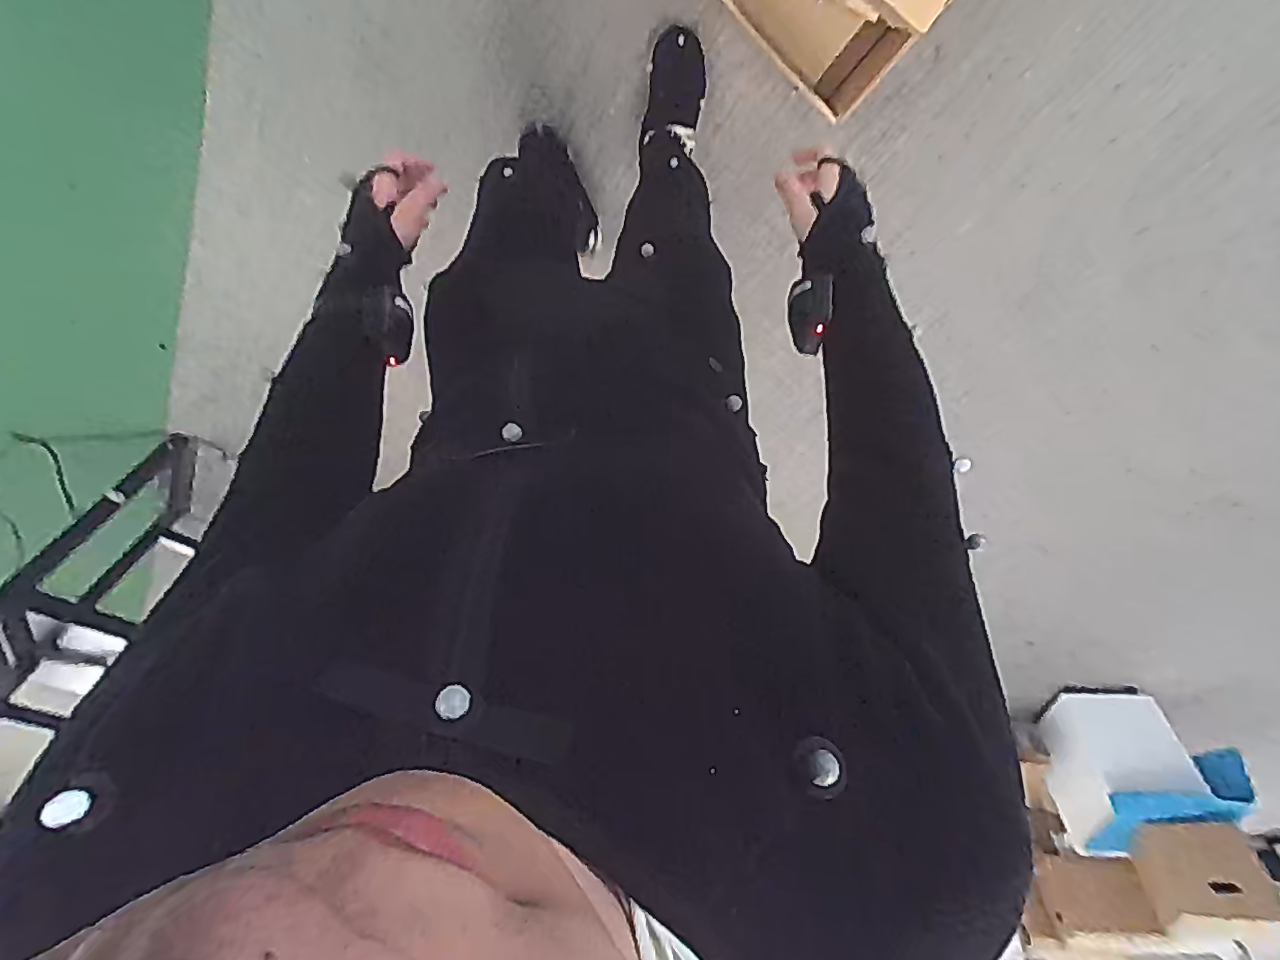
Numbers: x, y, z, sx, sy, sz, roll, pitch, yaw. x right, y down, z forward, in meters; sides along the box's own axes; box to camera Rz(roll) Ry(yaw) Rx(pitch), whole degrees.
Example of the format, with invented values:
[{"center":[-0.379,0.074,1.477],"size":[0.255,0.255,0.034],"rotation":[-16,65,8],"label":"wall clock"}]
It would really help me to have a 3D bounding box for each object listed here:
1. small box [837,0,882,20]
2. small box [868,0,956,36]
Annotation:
[{"center":[0.363,-0.902,0.885],"size":[0.168,0.176,0.179],"rotation":[19,132,-11],"label":"small box"},{"center":[0.328,-0.685,0.644],"size":[0.179,0.176,0.168],"rotation":[25,132,-17],"label":"small box"}]
